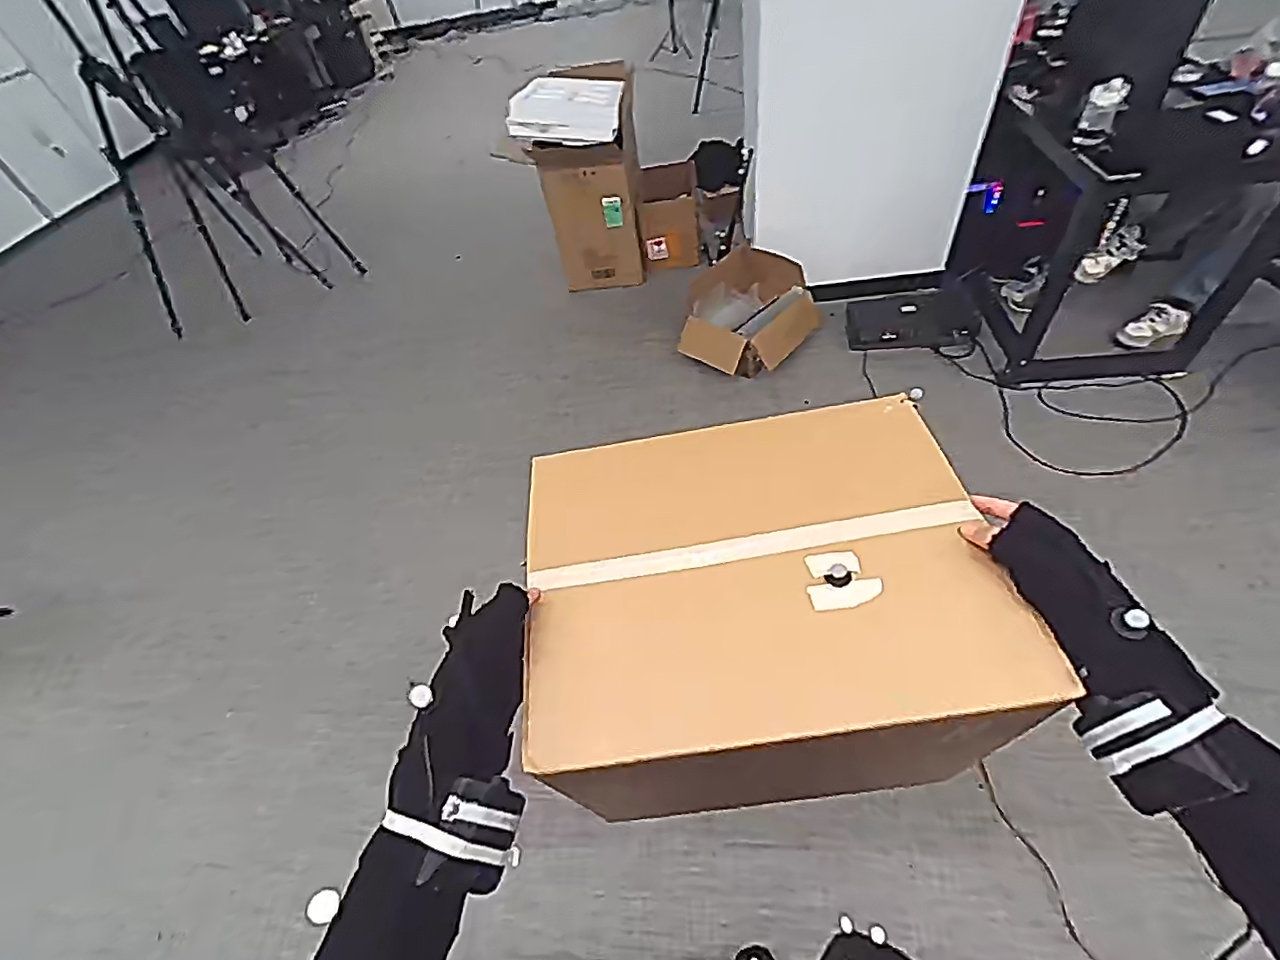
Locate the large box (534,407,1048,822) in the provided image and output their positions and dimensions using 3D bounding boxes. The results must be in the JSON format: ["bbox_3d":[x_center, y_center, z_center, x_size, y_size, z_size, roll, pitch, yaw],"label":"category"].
[{"bbox_3d":[0.115,0.163,0.616,0.408,0.320,0.320,-10,51,3],"label":"large box"}]
